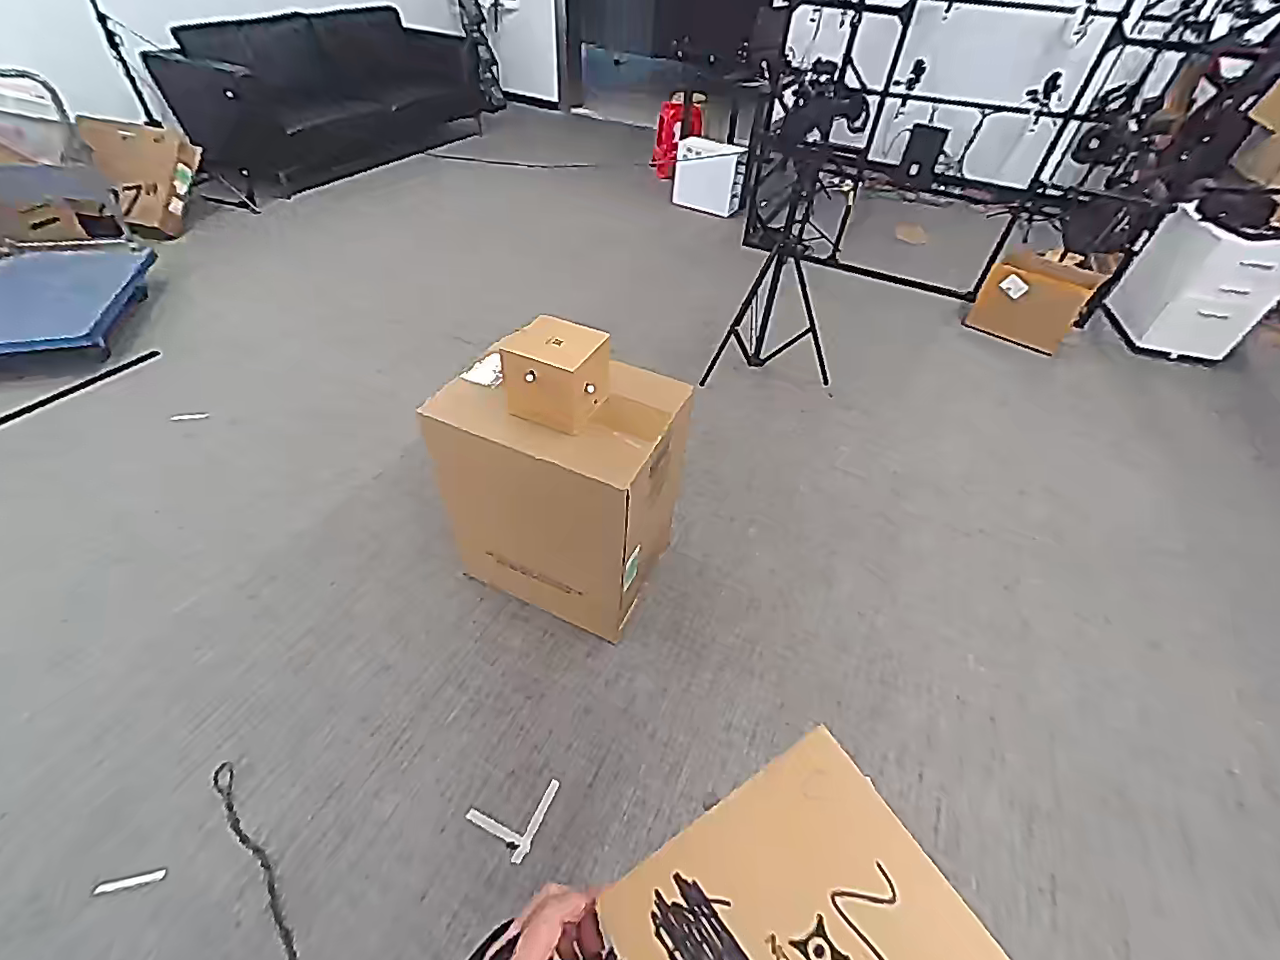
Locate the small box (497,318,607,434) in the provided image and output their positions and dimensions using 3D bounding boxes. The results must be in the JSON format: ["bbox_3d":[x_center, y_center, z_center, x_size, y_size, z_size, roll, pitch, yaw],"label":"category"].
[{"bbox_3d":[-0.185,-0.224,1.183,0.179,0.176,0.168,20,47,15],"label":"small box"}]
